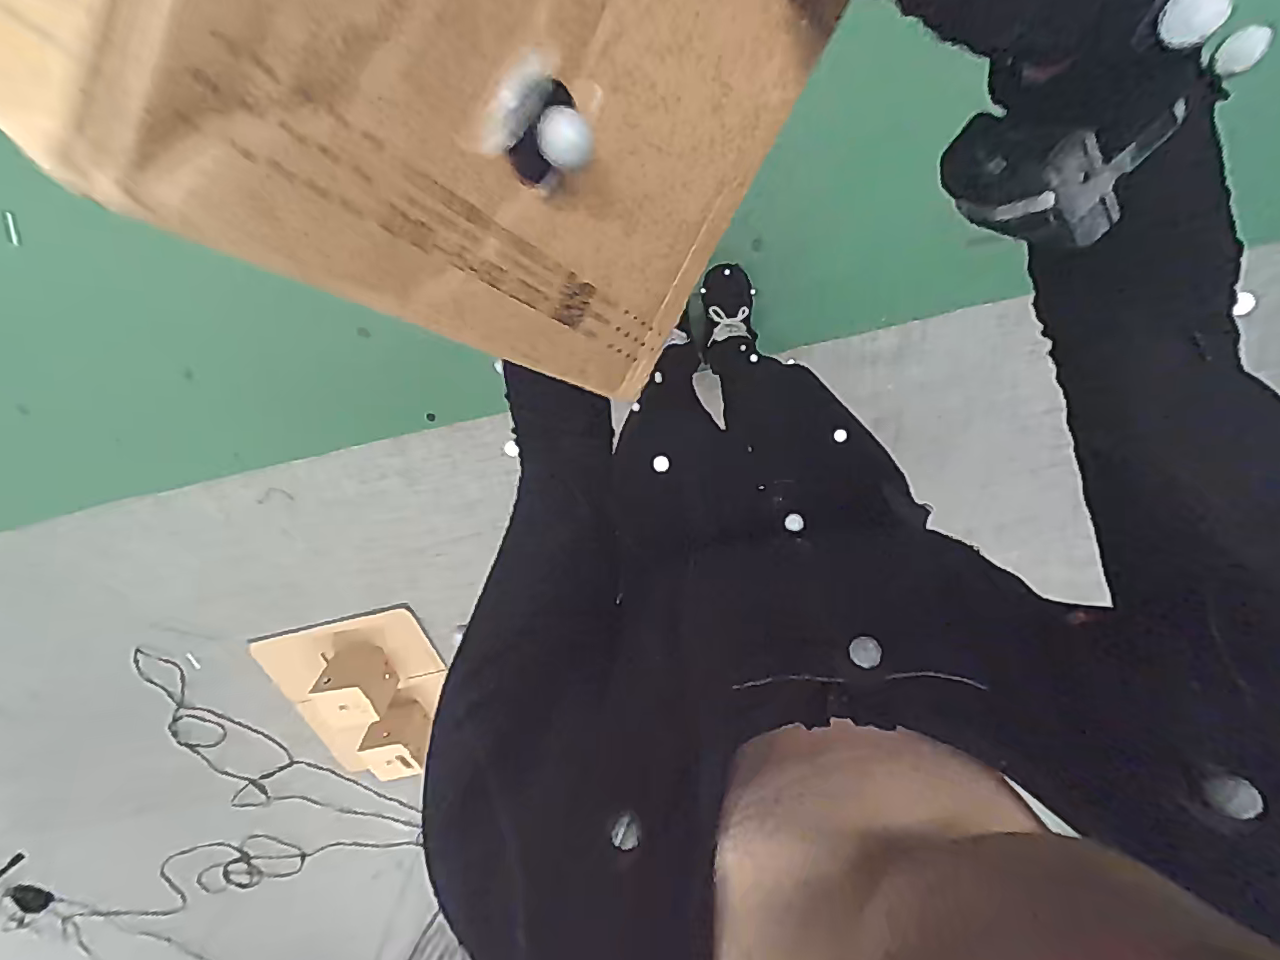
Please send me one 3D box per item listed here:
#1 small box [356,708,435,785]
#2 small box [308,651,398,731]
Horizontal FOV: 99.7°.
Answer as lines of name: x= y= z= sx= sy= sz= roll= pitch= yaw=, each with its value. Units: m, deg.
small box: x=-0.846 y=0.929 z=1.898 sx=0.179 sy=0.176 sz=0.168 roll=-16 pitch=116 yaw=8
small box: x=-0.938 y=0.691 z=1.782 sx=0.179 sy=0.176 sz=0.168 roll=-11 pitch=117 yaw=5
